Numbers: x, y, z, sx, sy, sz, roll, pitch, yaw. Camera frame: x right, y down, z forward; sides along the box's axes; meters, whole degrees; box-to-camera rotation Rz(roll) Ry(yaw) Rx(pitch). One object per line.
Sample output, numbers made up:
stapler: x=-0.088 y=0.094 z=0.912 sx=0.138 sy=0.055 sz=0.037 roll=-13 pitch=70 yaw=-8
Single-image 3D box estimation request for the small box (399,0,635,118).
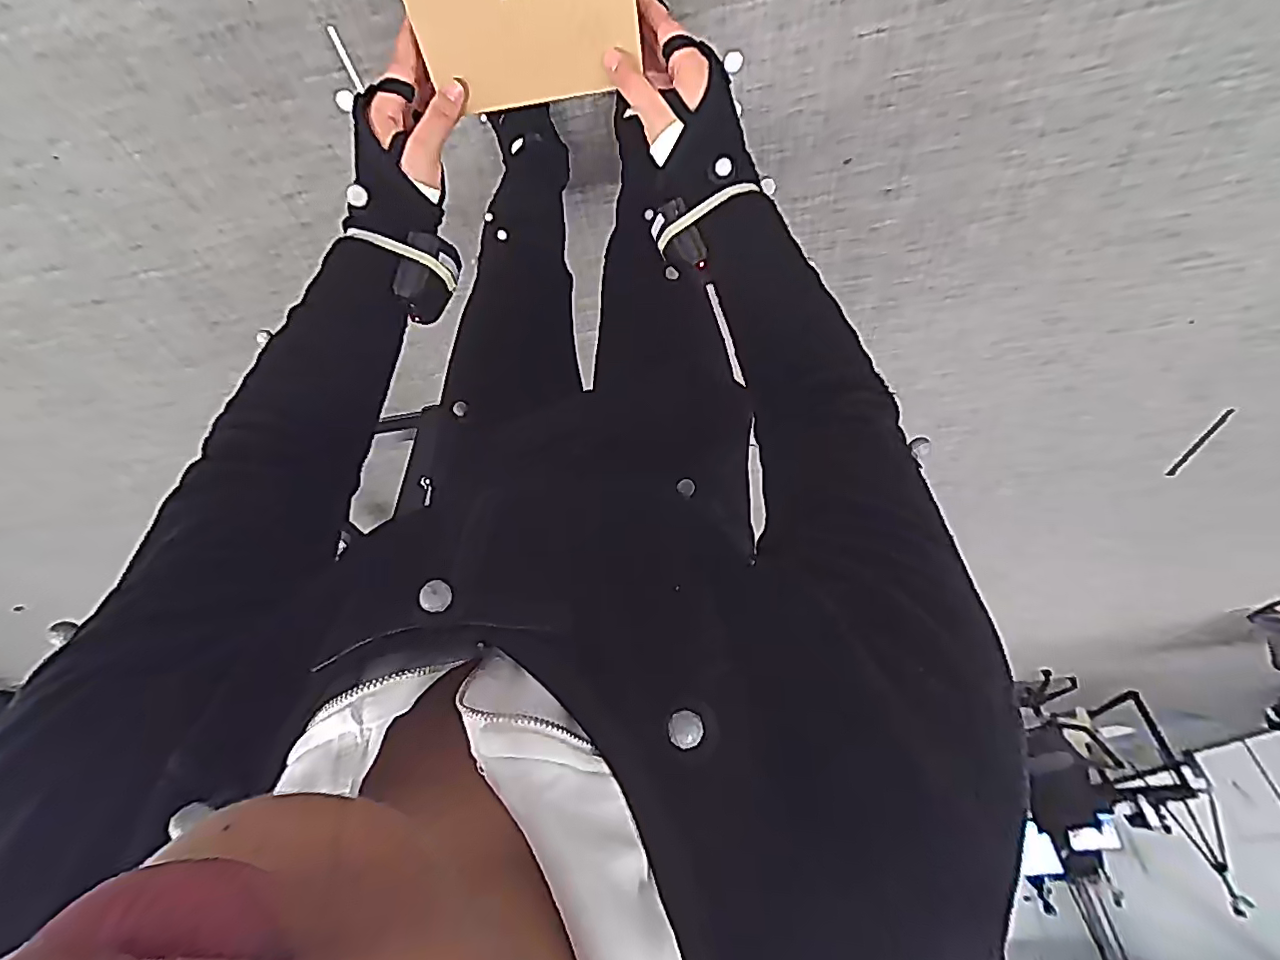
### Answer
small box: x=-0.095 y=-0.420 z=0.422 sx=0.168 sy=0.176 sz=0.179 roll=-7 pitch=139 yaw=4
